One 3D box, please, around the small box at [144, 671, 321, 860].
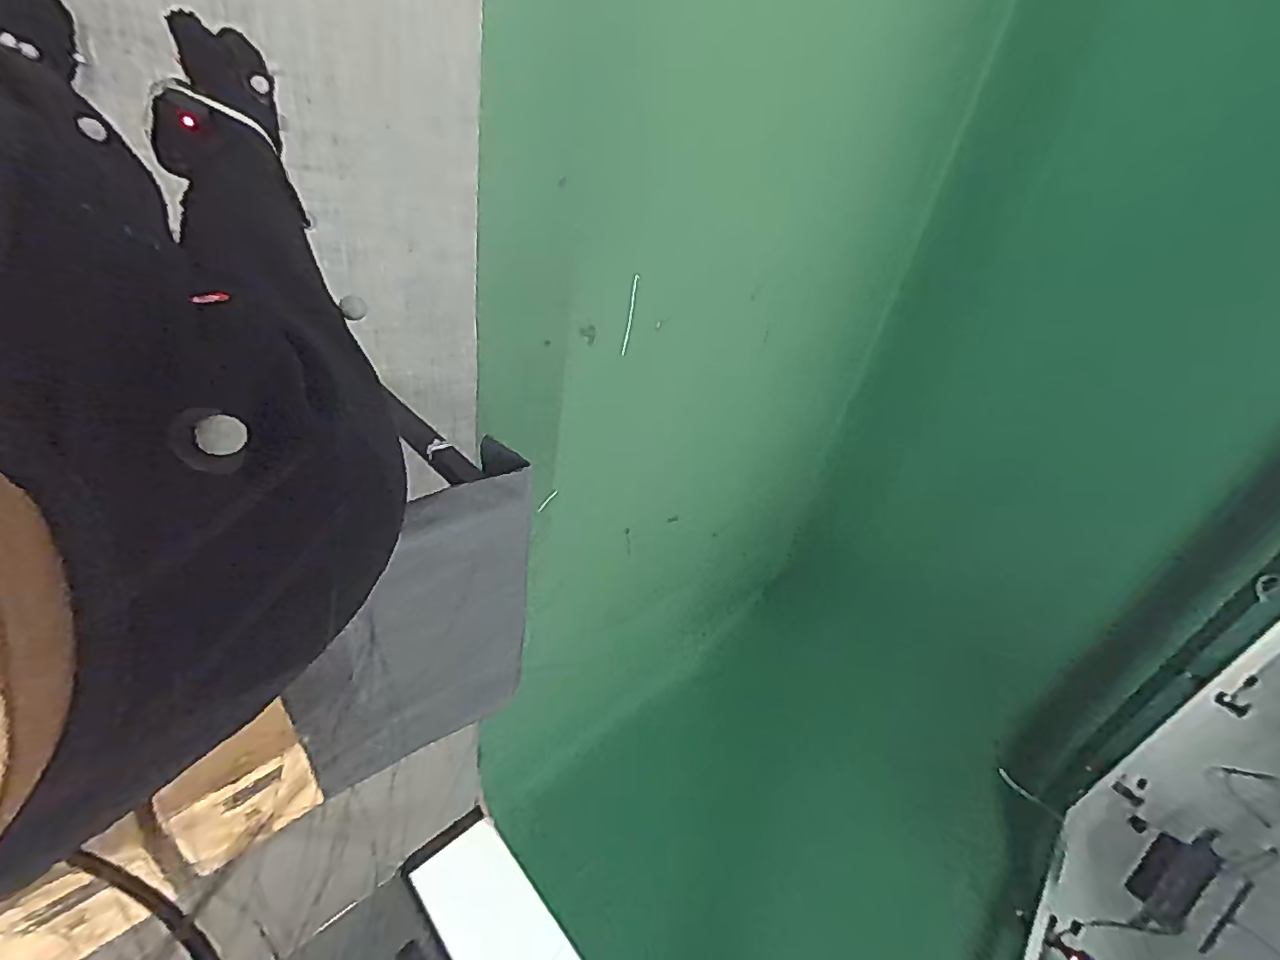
[{"bbox_3d":[-0.628,0.426,0.840,0.168,0.176,0.179,-23,136,-38],"label":"small box"}]
